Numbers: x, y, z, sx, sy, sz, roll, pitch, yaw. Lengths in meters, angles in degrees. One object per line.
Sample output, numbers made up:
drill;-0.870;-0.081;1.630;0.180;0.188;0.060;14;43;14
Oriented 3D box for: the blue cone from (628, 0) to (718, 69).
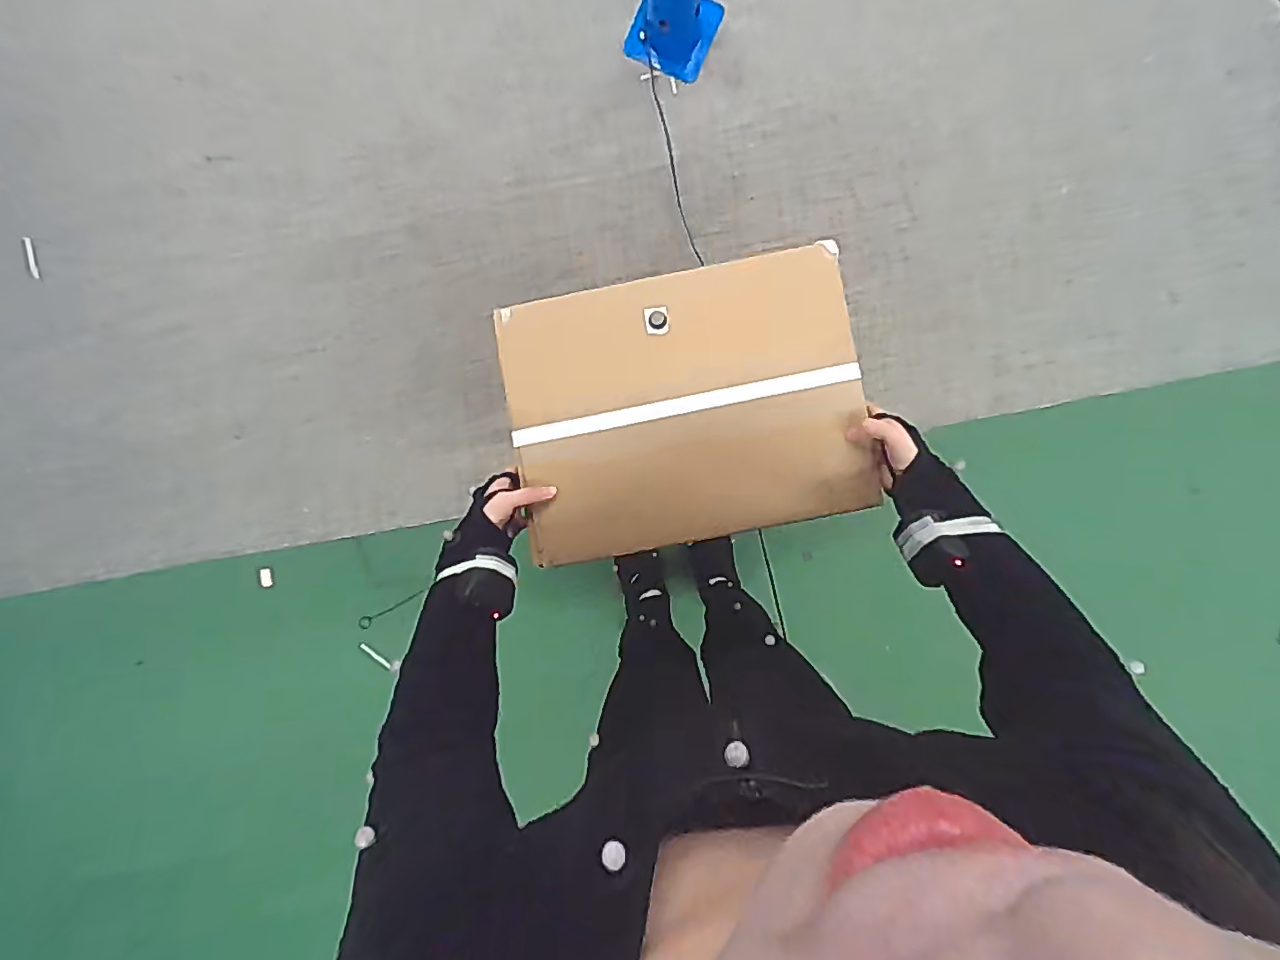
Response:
blue cone;0.073;-1.096;1.144;0.192;0.380;0.193;22;96;1
